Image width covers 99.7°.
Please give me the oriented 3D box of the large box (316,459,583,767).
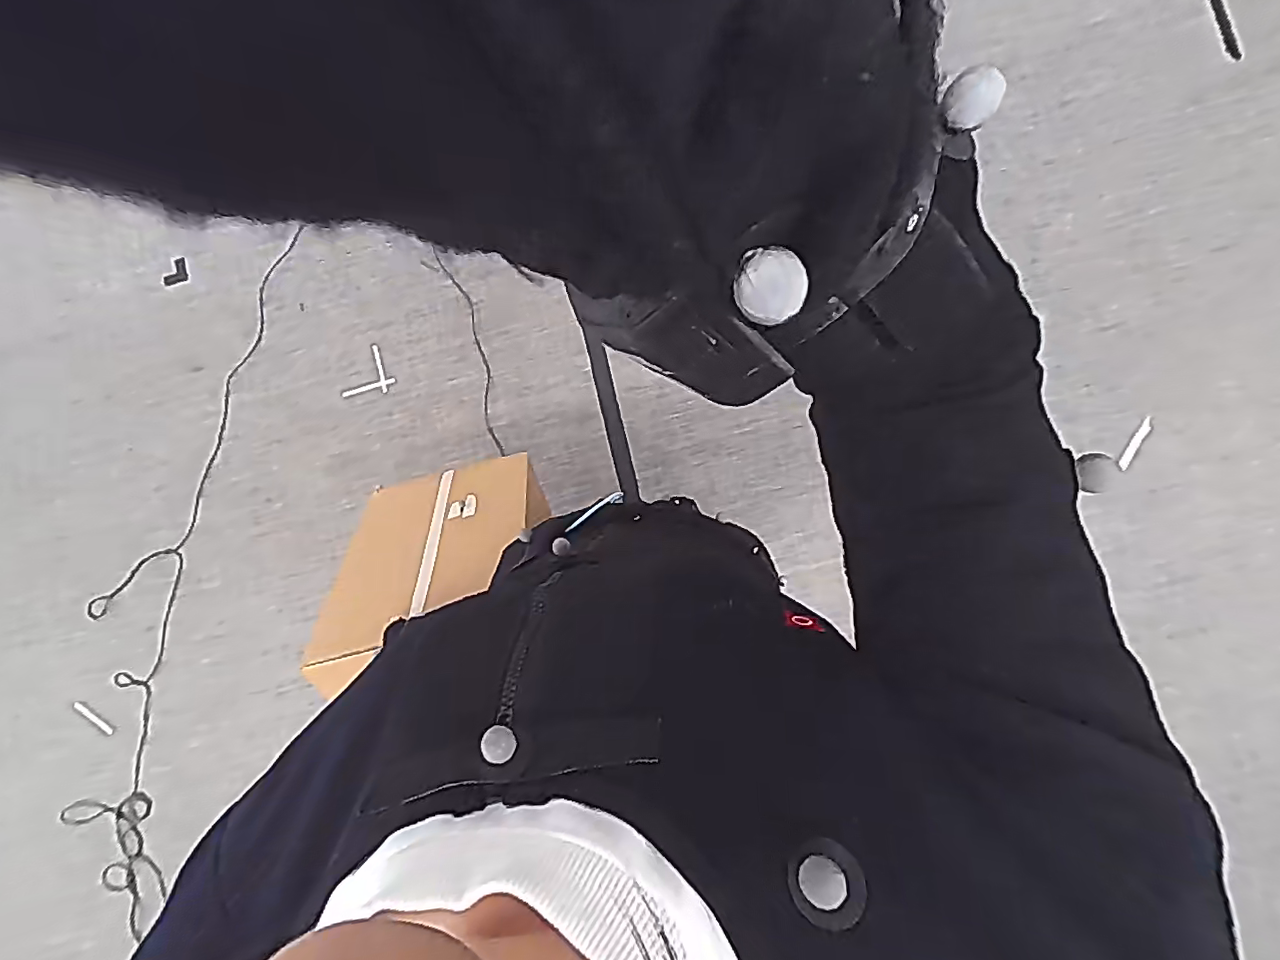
[{"bbox_3d":[-0.301,0.224,0.986,0.320,0.408,0.320,-13,126,-1],"label":"large box"}]
